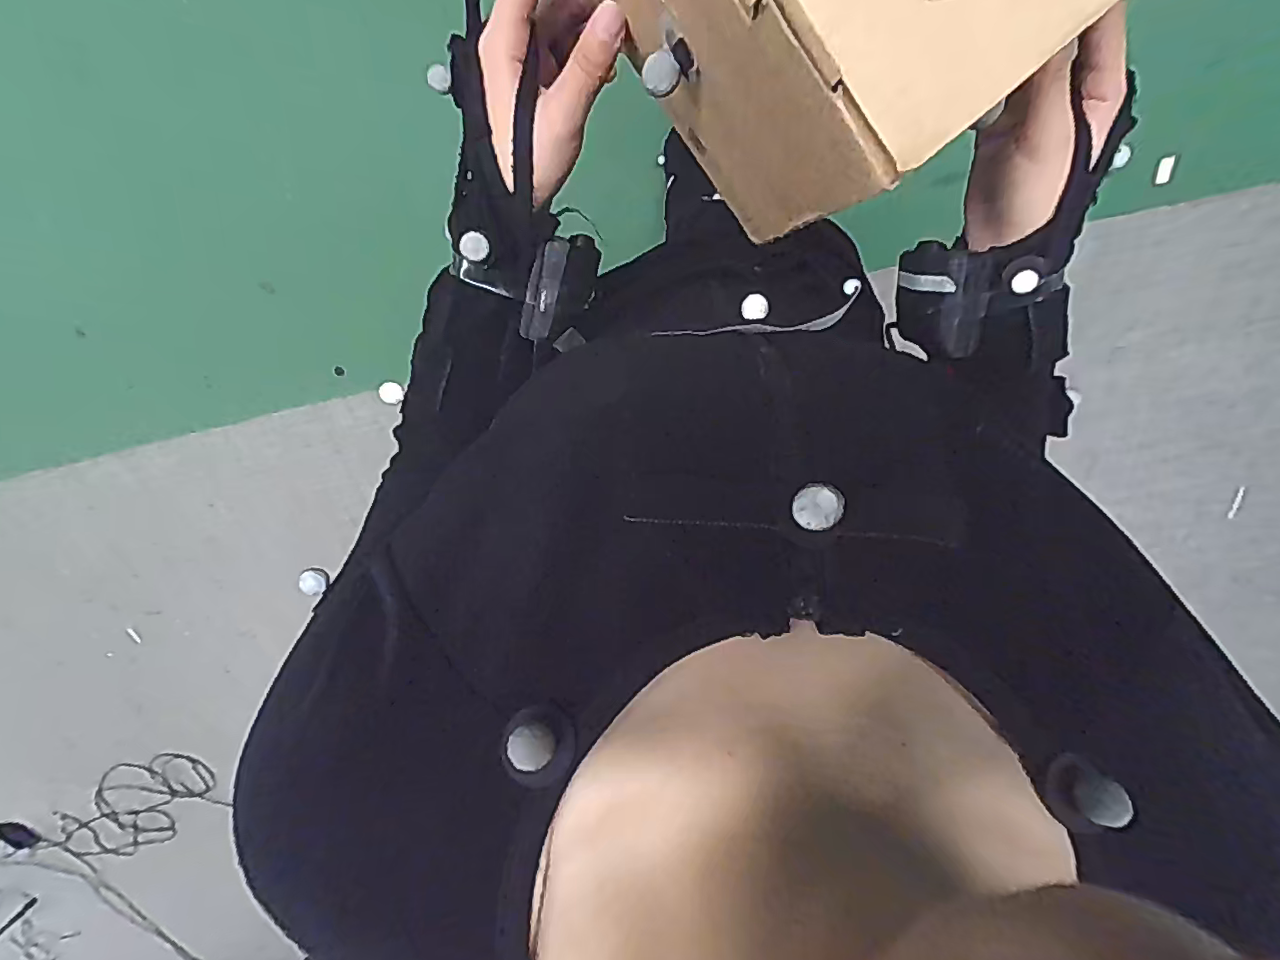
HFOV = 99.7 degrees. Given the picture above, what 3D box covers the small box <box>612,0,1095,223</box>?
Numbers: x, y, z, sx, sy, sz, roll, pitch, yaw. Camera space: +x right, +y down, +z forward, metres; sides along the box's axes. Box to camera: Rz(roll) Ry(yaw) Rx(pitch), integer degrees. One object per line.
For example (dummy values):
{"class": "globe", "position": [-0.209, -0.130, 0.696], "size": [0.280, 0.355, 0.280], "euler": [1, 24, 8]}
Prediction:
{"class": "small box", "position": [0.083, -0.219, 0.190], "size": [0.179, 0.176, 0.168], "euler": [-38, 105, 12]}
